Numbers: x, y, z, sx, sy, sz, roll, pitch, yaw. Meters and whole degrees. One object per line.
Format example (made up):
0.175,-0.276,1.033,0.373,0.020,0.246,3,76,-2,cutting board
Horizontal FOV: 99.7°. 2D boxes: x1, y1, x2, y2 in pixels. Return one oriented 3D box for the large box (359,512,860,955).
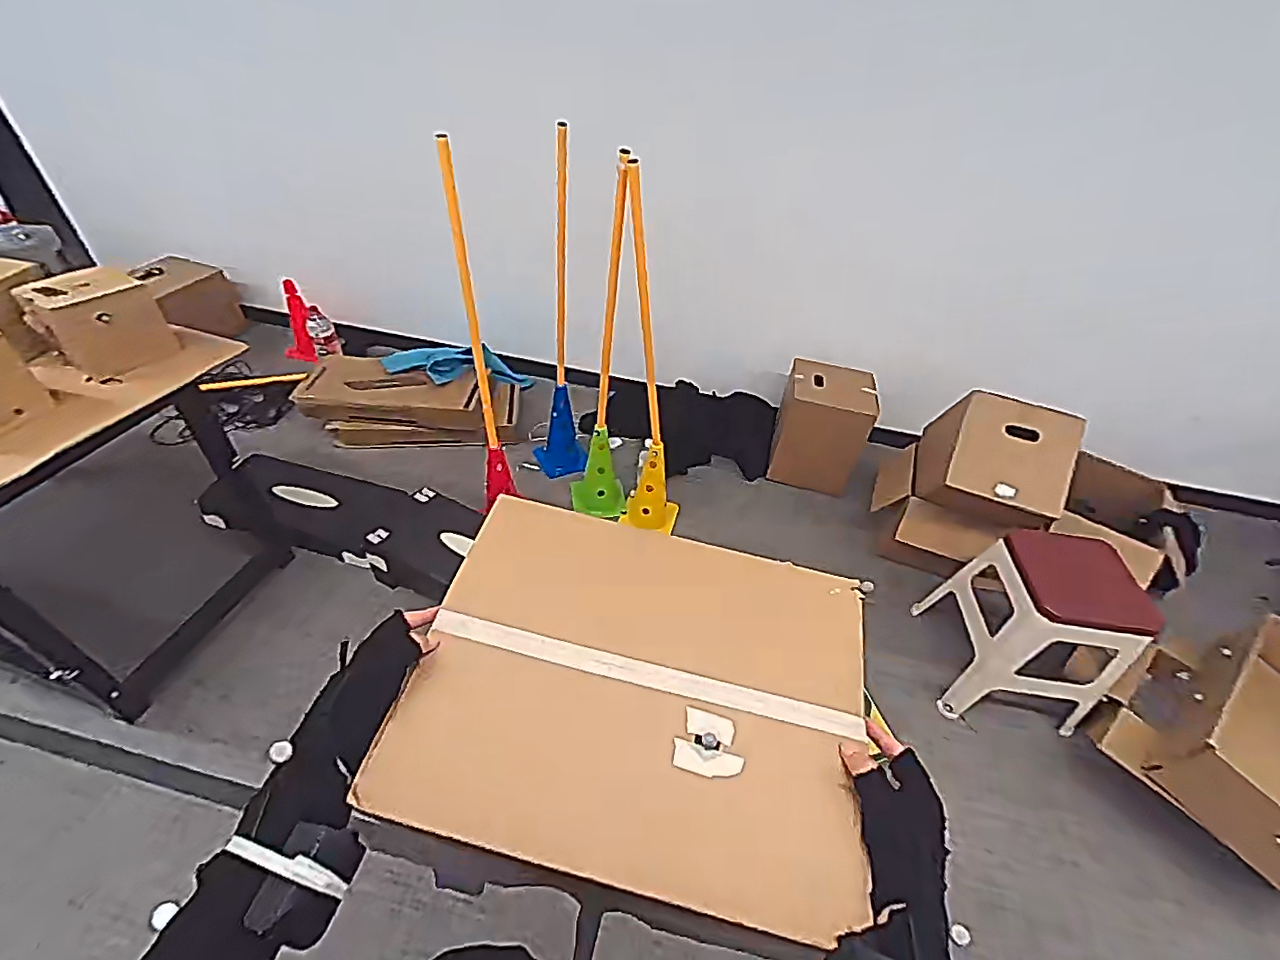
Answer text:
-0.014,0.285,0.617,0.408,0.320,0.320,14,51,4,large box
